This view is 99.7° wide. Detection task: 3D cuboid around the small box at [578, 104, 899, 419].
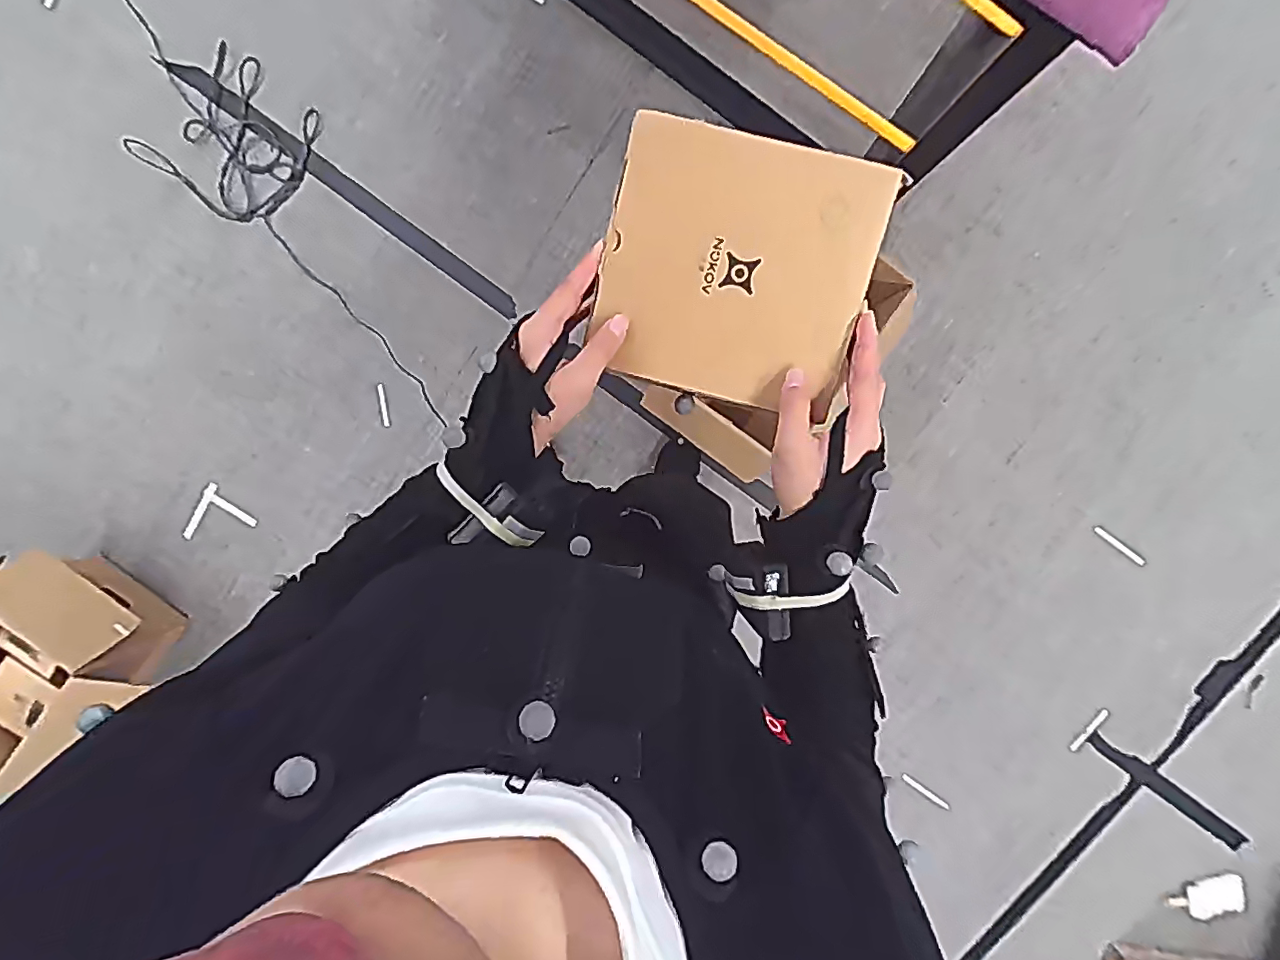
[{"bbox_3d":[0.067,-0.154,0.433,0.179,0.176,0.168,15,100,3],"label":"small box"}]
